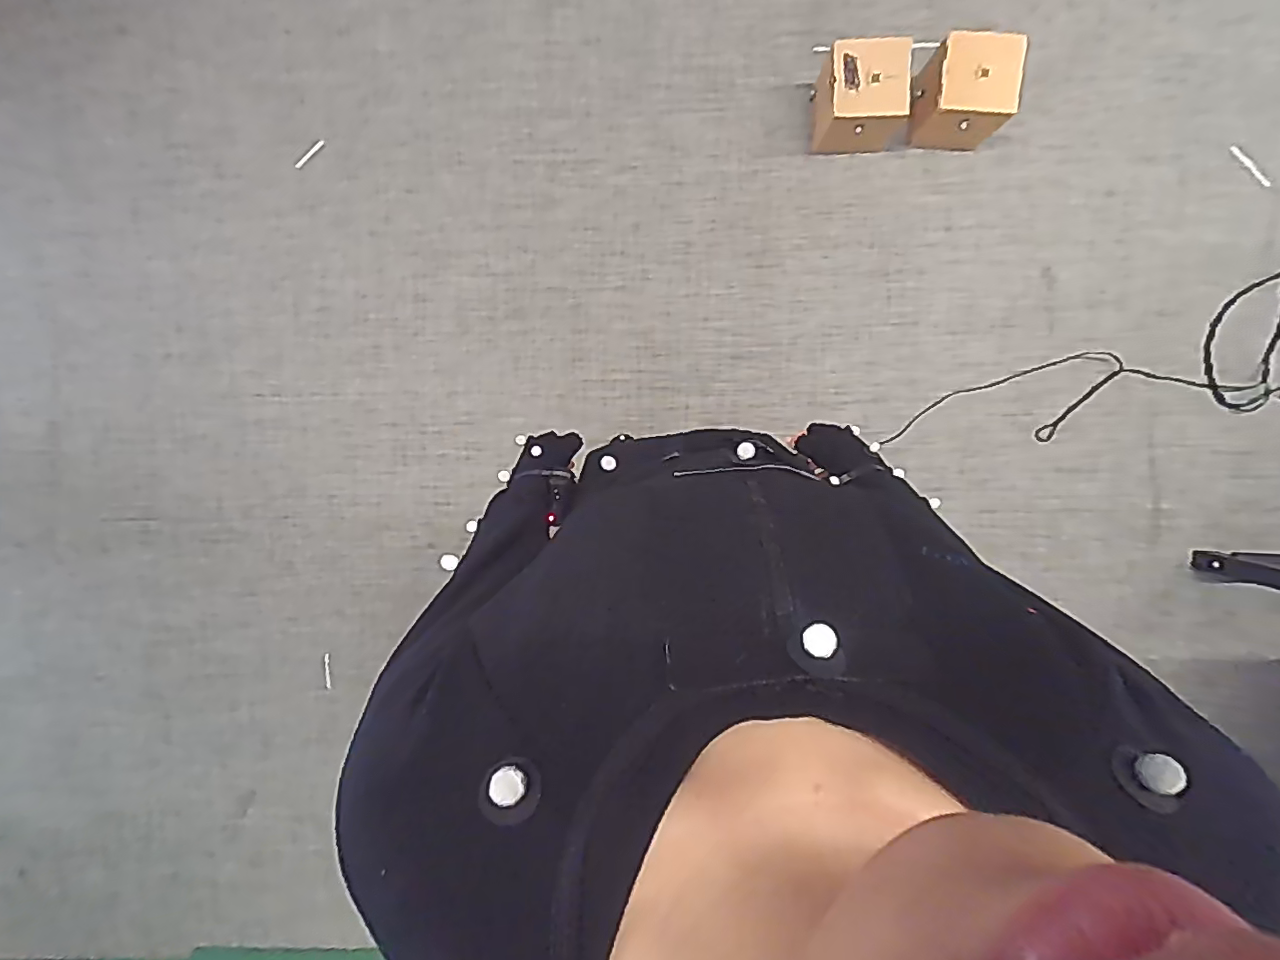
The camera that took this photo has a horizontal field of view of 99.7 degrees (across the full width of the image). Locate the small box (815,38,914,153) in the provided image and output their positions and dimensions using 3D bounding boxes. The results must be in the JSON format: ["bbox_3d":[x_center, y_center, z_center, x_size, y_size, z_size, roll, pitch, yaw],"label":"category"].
[{"bbox_3d":[0.527,-0.908,1.291,0.179,0.176,0.168,-1,96,1],"label":"small box"}]

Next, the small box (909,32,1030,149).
[{"bbox_3d":[0.773,-0.913,1.282,0.179,0.176,0.168,5,96,3],"label":"small box"}]
